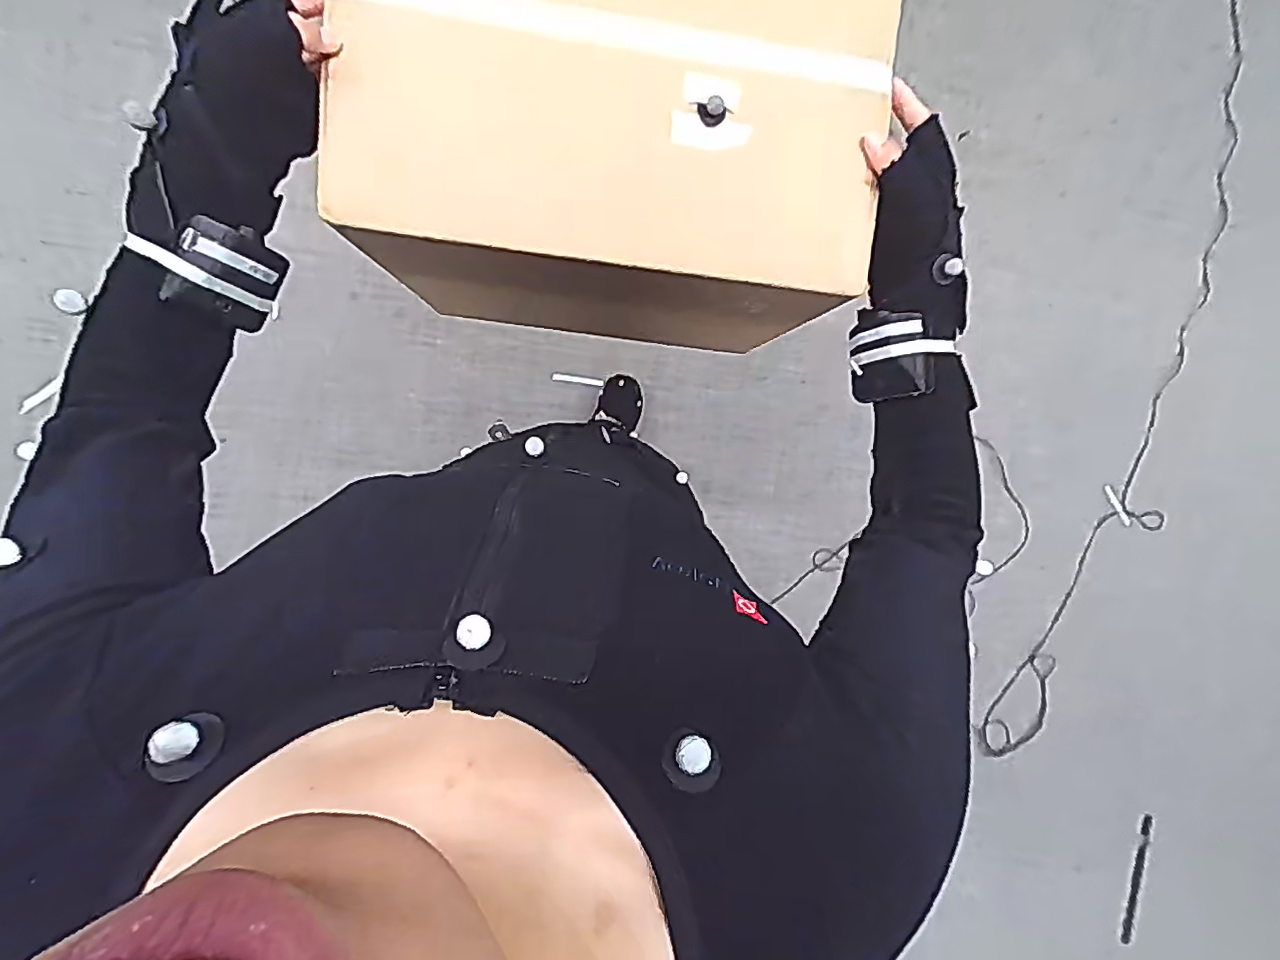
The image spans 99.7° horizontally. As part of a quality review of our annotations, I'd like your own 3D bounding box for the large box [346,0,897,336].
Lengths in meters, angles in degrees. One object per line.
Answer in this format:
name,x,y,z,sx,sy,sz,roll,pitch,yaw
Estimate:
large box,-0.022,-0.343,0.546,0.408,0.320,0.320,5,95,-7
